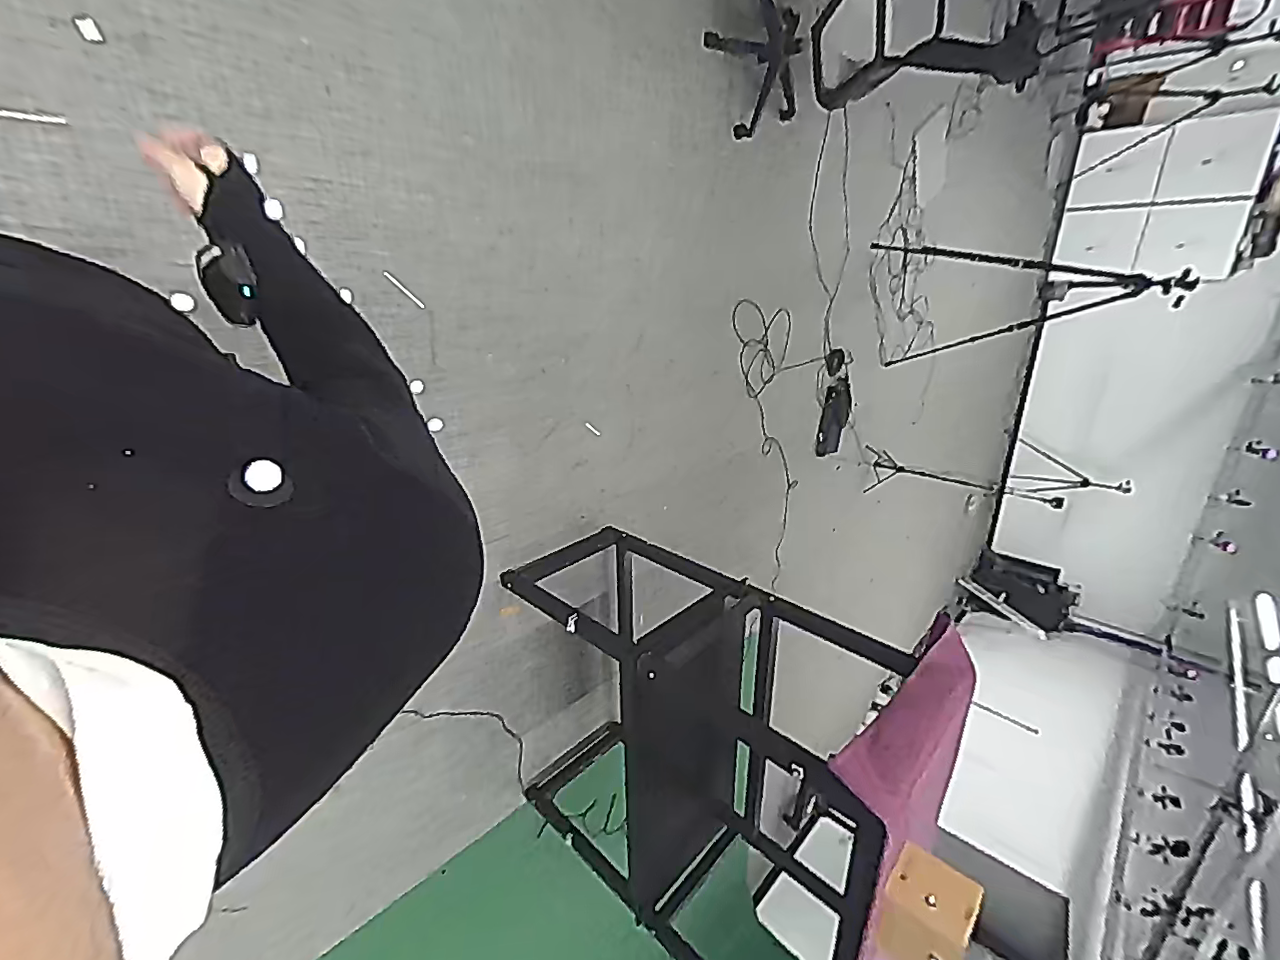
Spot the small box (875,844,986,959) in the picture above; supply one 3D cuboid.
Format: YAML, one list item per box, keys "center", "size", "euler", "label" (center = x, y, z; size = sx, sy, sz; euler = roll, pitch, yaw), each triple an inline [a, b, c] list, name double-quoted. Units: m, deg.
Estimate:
- center: [0.649, 0.969, 1.217]
  size: [0.168, 0.176, 0.179]
  euler: [-18, 116, -43]
  label: "small box"
